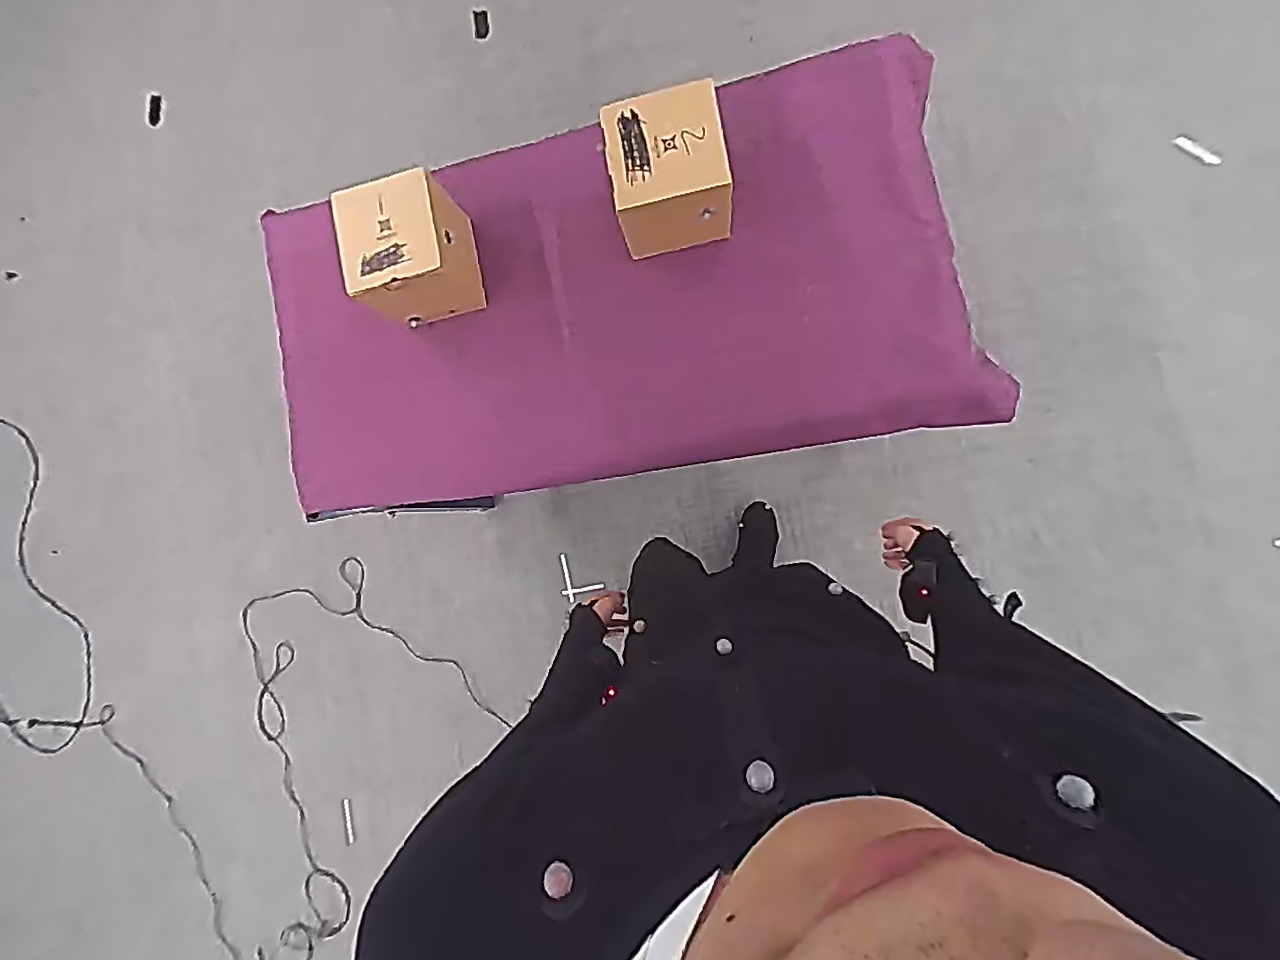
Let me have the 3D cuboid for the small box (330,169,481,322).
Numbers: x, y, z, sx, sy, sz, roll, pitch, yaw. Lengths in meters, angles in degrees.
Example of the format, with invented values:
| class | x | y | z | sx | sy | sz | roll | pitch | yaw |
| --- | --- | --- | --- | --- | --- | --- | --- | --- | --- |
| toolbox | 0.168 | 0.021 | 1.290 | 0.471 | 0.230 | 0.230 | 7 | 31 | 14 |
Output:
| class | x | y | z | sx | sy | sz | roll | pitch | yaw |
| --- | --- | --- | --- | --- | --- | --- | --- | --- | --- |
| small box | -0.395 | -0.389 | 0.937 | 0.168 | 0.176 | 0.179 | -12 | 85 | 7 |
